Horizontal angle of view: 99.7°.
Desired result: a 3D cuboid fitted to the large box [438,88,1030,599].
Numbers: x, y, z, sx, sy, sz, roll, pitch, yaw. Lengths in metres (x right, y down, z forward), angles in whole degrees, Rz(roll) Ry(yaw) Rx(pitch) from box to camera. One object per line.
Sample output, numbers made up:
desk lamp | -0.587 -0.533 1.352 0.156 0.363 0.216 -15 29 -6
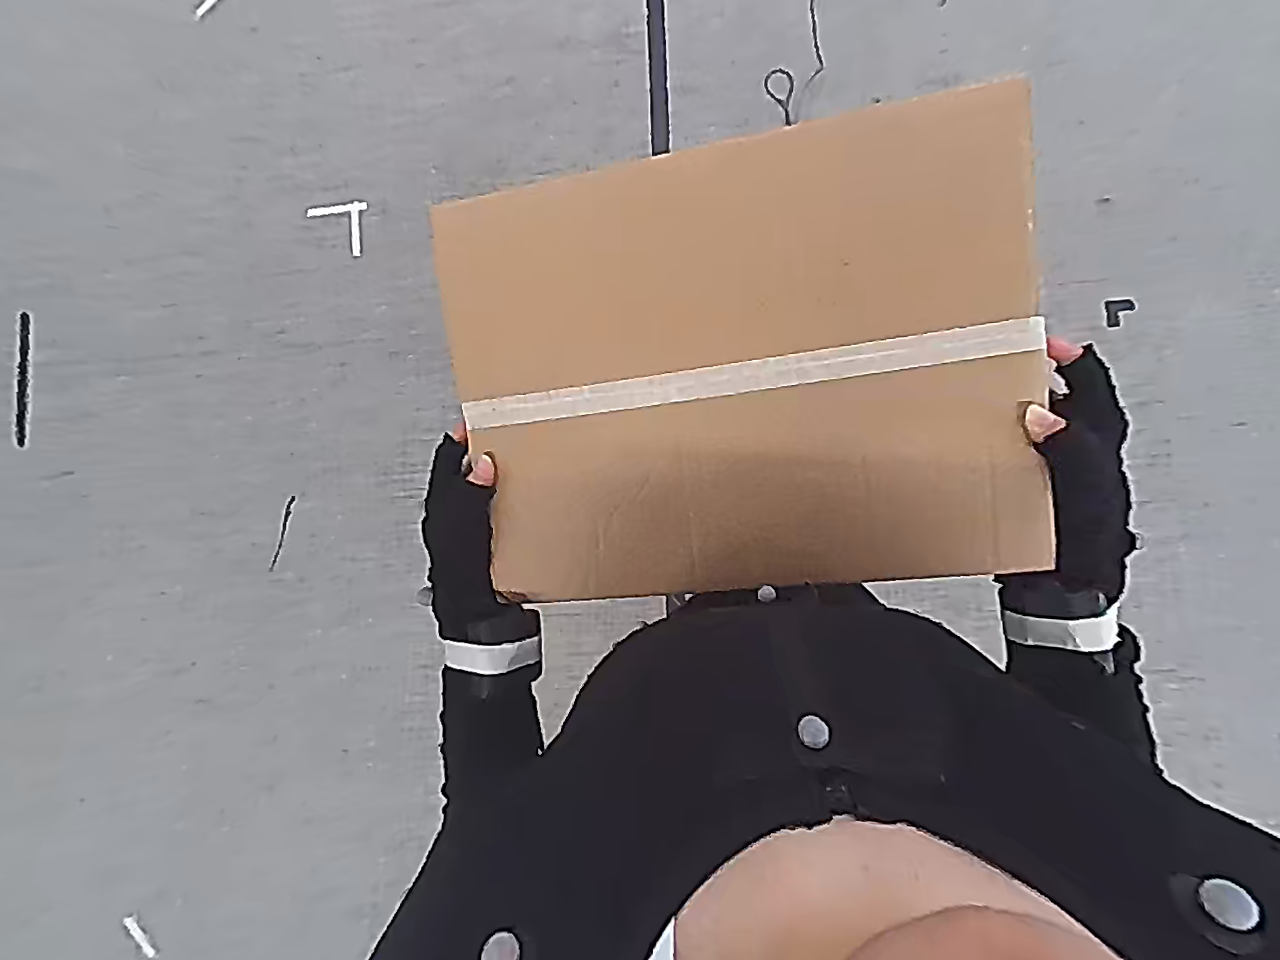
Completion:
large box | 0.085 -0.096 0.539 0.408 0.320 0.320 -6 96 12
